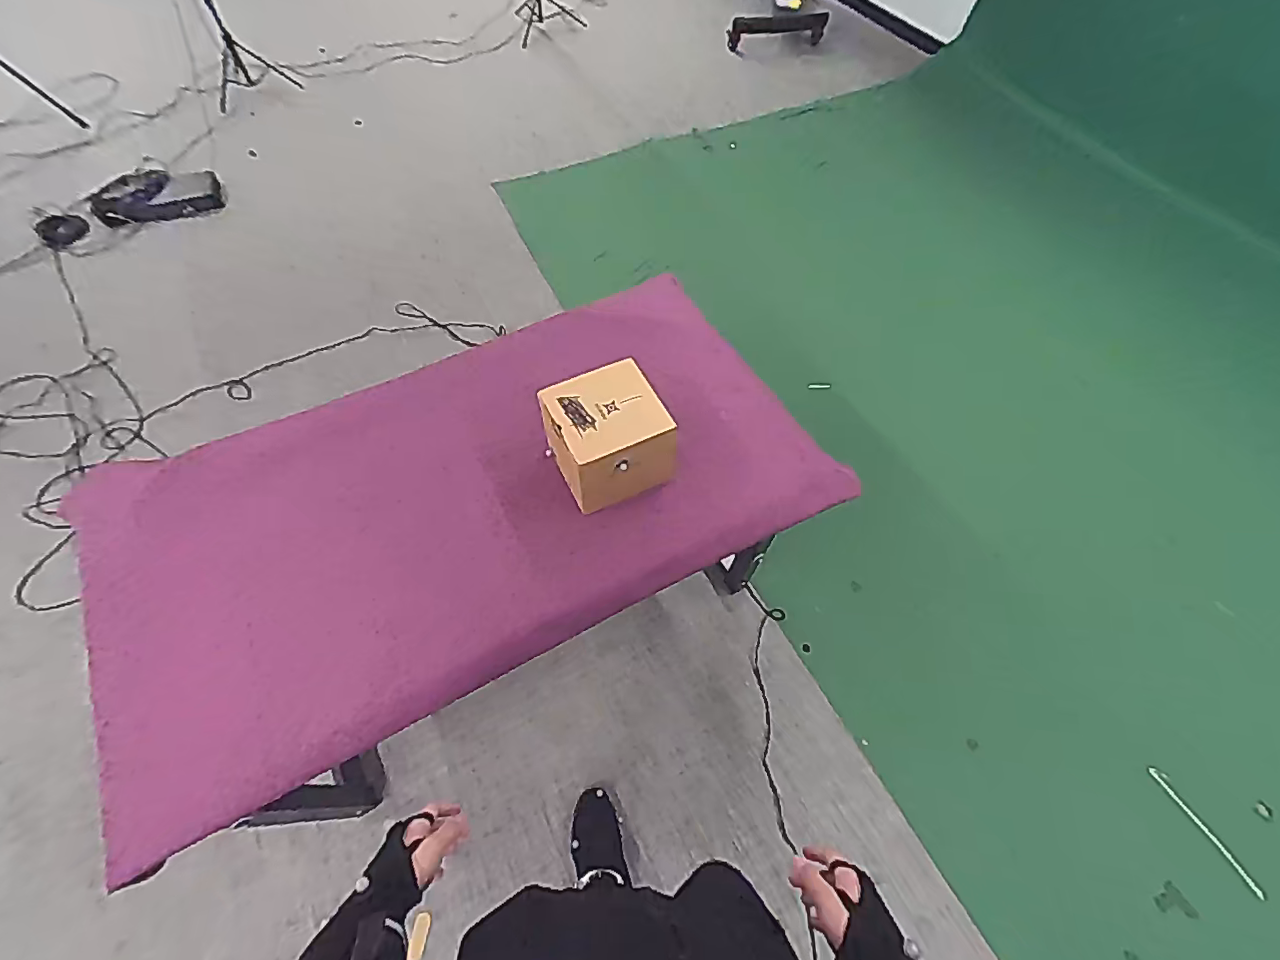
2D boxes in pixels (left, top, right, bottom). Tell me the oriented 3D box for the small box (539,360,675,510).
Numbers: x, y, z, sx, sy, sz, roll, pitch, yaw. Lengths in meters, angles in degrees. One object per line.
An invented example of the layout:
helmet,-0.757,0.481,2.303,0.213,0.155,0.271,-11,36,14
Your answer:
small box,-0.057,-0.073,0.942,0.179,0.176,0.168,-23,63,-15
